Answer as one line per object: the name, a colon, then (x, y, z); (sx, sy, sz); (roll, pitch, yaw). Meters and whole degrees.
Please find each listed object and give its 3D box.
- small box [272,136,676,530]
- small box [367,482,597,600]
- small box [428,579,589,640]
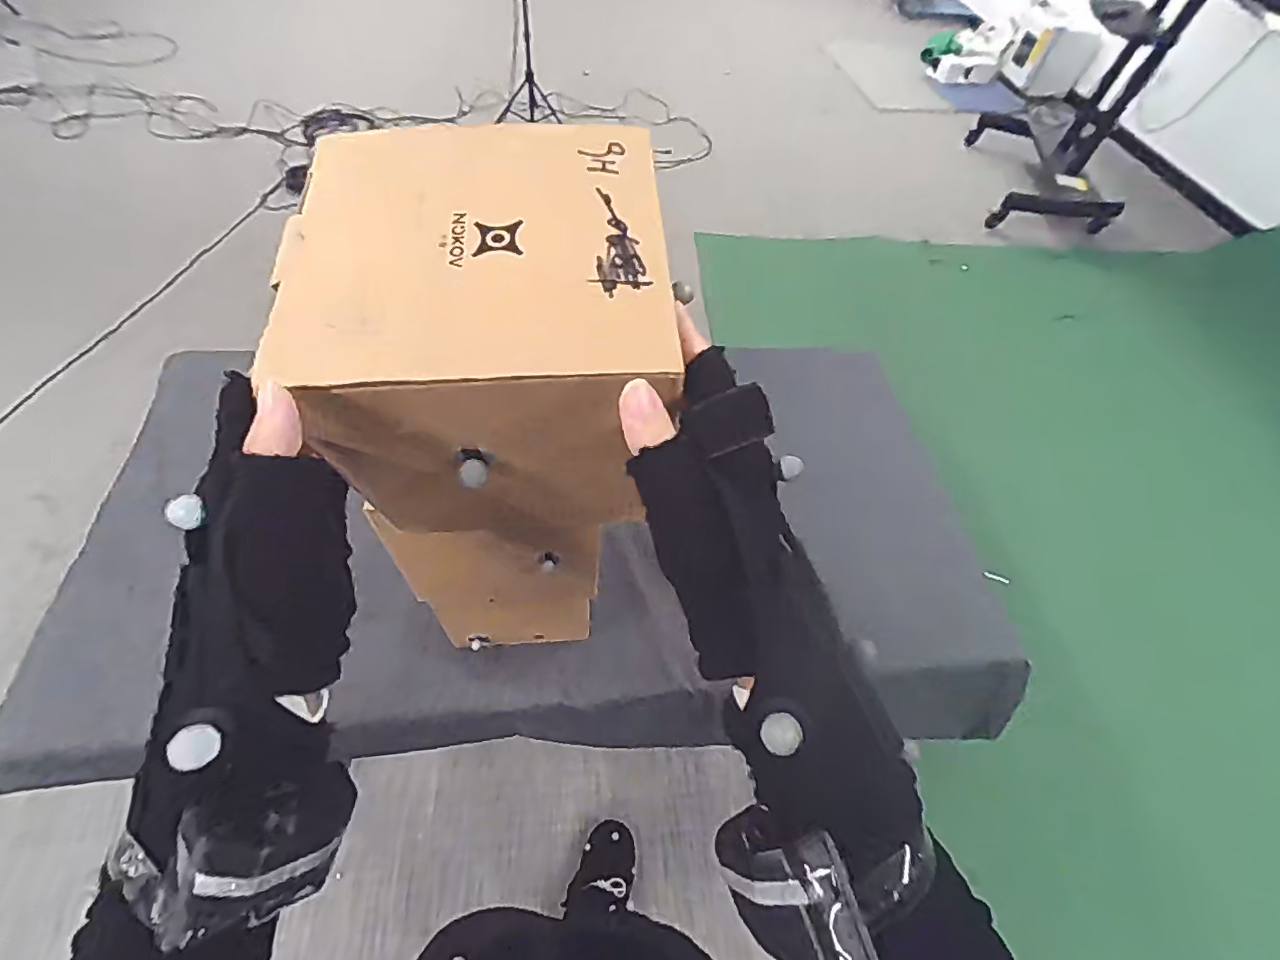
small box: (-0.079, -0.077, 0.337); (0.179, 0.176, 0.168); (-6, 64, -5)
small box: (-0.131, 0.006, 0.525); (0.179, 0.176, 0.168); (-1, 53, -6)
small box: (-0.152, 0.087, 0.664); (0.168, 0.176, 0.179); (-5, 57, -9)
